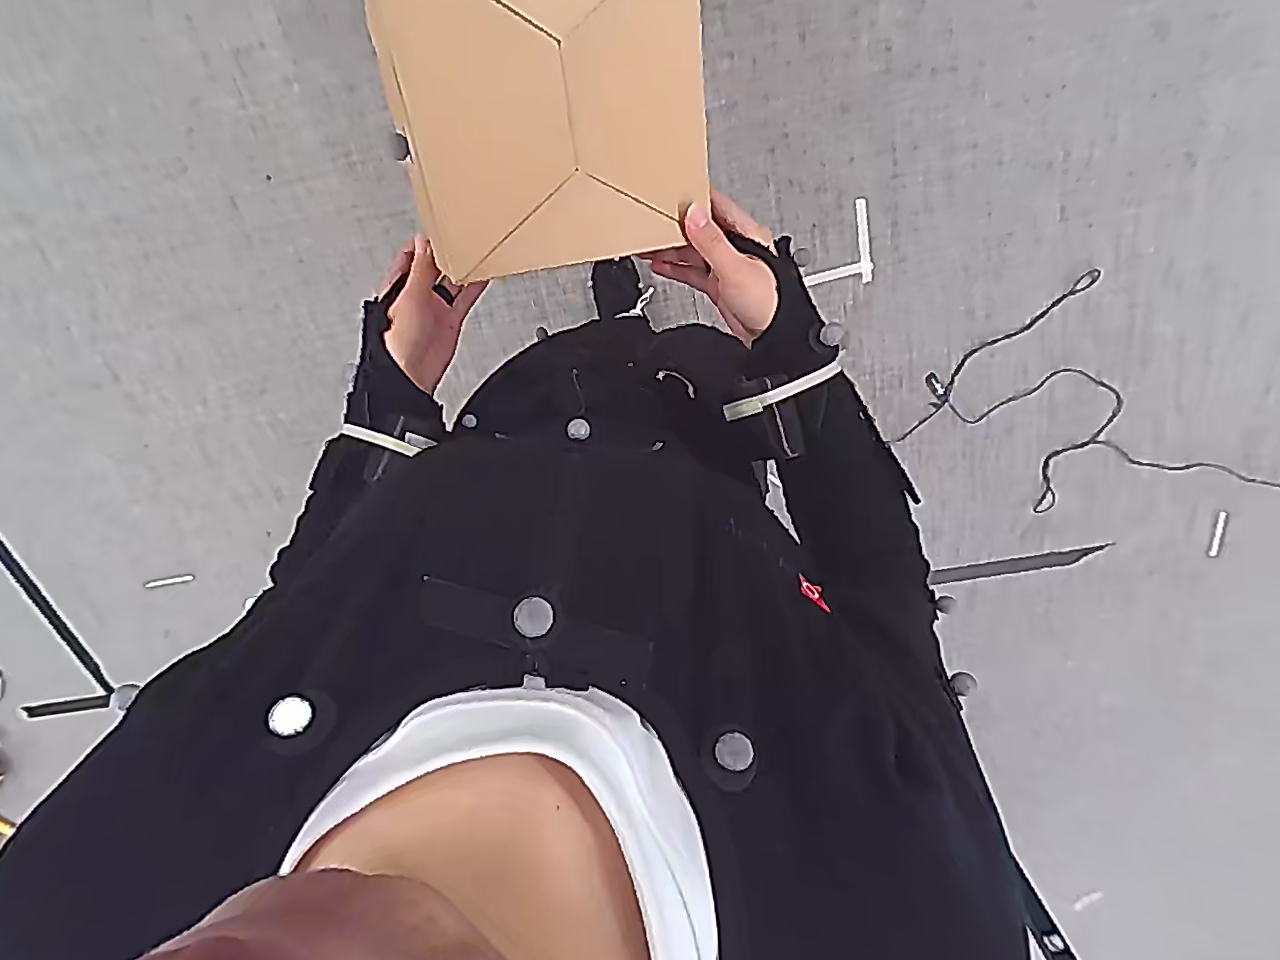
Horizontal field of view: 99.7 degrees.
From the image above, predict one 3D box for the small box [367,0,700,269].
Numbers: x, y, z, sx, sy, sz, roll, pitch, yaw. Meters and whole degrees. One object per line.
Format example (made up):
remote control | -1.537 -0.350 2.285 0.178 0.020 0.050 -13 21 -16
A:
small box | -0.072 -0.249 0.378 0.179 0.176 0.168 -17 119 -17
